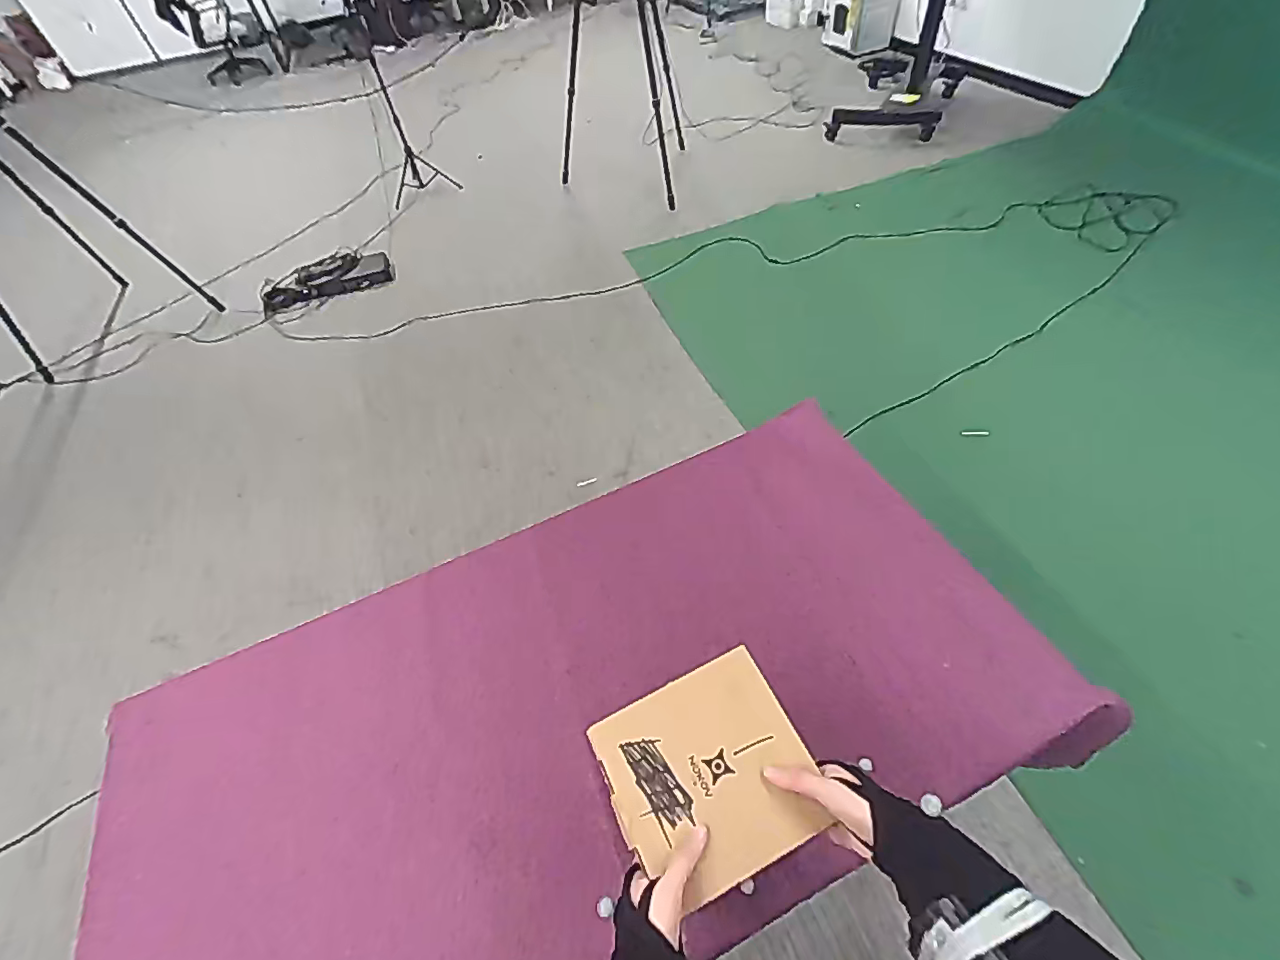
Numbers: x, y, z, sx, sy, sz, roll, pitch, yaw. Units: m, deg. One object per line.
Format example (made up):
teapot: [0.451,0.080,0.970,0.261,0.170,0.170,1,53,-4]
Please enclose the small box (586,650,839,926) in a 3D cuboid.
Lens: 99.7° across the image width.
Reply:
small box: [0.067,0.305,0.550,0.179,0.176,0.168,-25,59,-10]
